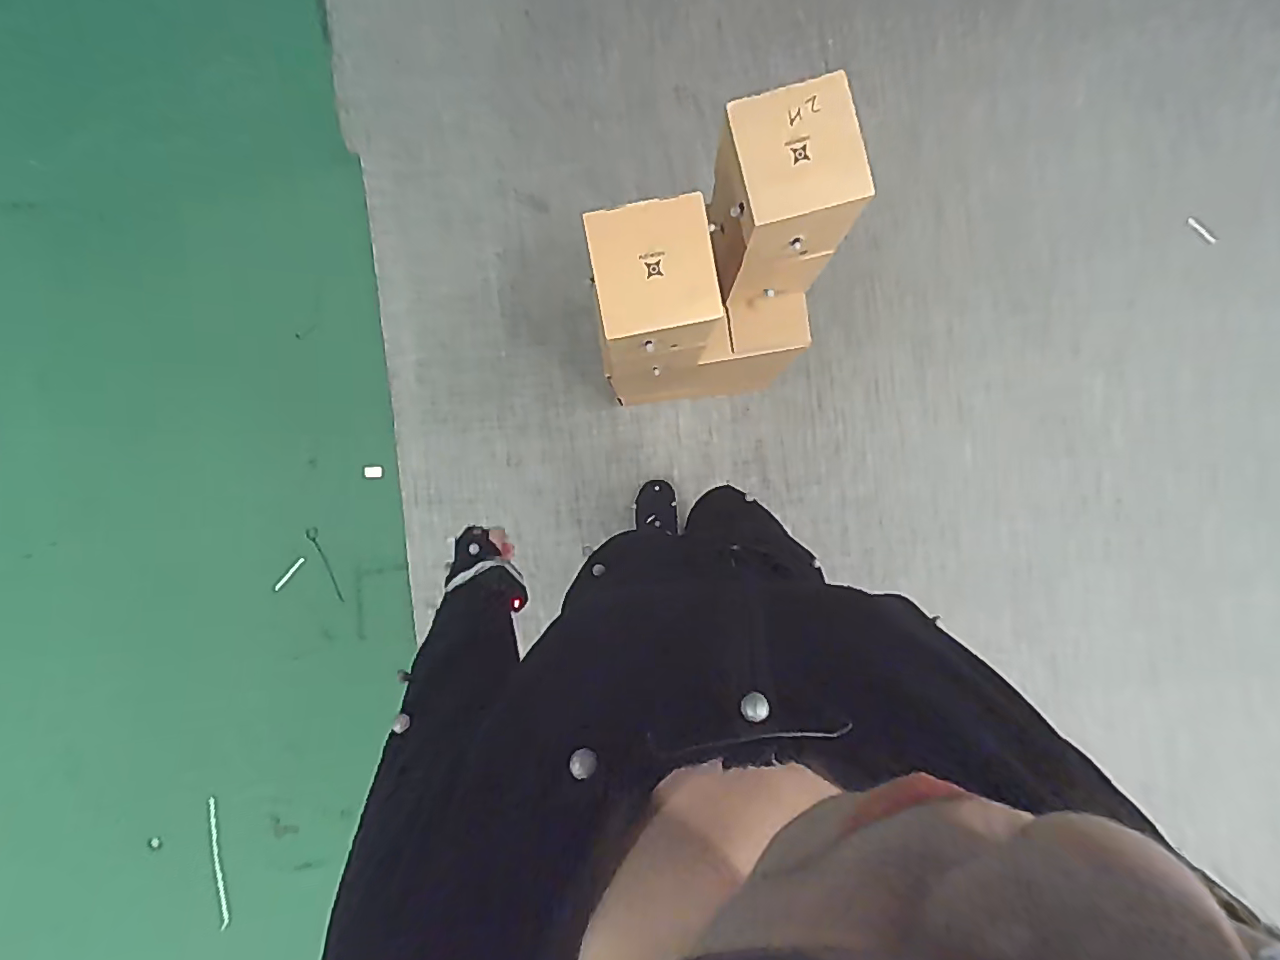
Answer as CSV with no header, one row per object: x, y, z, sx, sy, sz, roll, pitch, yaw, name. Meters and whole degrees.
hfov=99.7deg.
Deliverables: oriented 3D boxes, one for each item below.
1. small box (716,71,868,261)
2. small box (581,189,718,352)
0.215,-0.448,0.807,0.168,0.176,0.179,-13,90,3,small box
0.015,-0.299,0.816,0.168,0.176,0.179,-11,92,1,small box
